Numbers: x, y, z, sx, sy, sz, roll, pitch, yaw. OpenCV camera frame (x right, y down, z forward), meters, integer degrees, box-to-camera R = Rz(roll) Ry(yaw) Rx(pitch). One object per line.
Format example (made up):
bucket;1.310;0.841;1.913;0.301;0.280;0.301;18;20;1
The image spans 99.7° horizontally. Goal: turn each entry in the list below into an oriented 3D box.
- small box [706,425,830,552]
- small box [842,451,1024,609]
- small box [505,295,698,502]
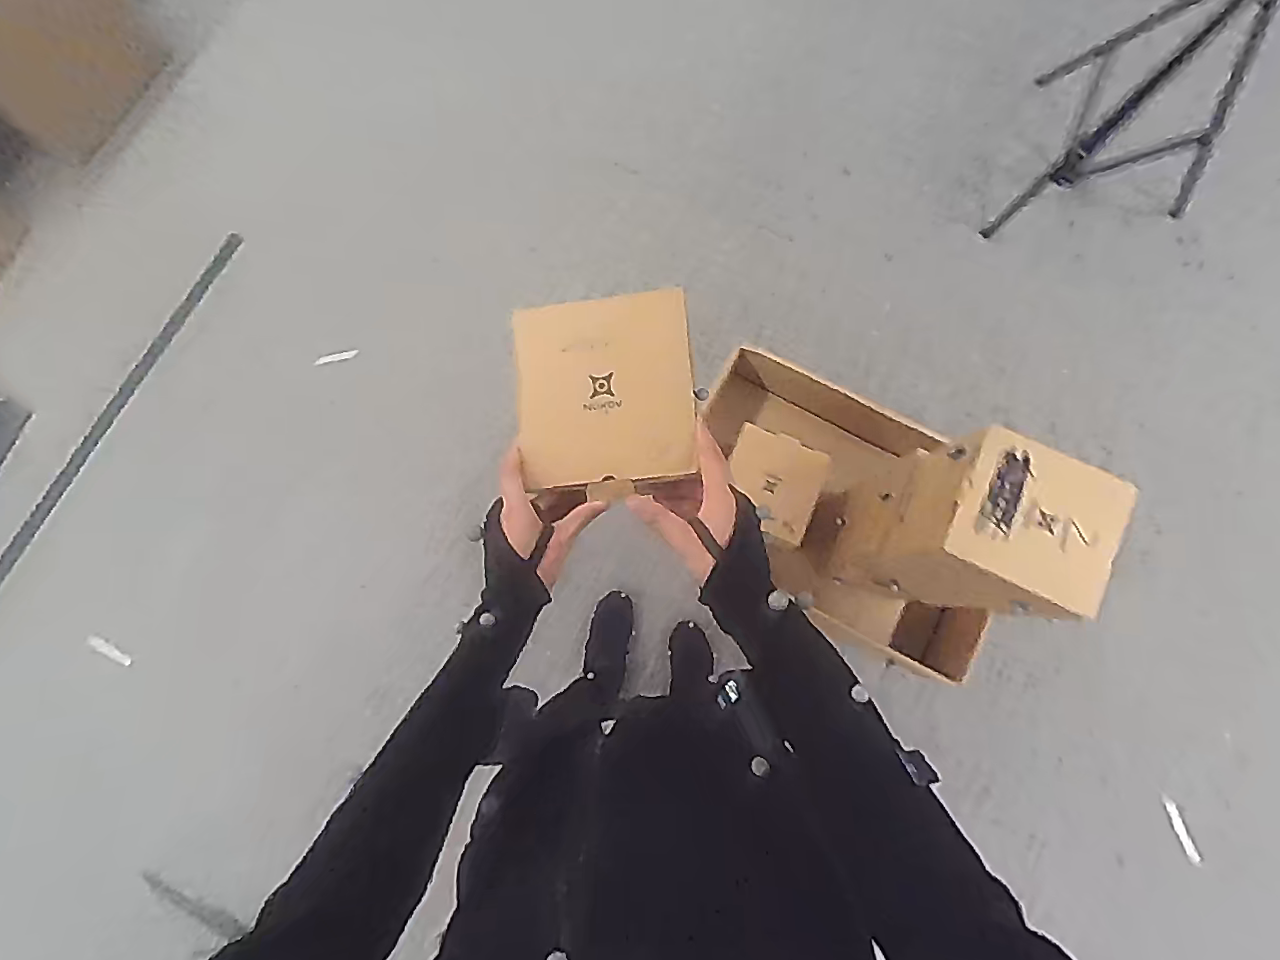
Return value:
small box;0.233;0.024;1.030;0.168;0.176;0.179;23;80;6
small box;0.443;0.083;0.847;0.168;0.176;0.179;27;81;8
small box;-0.029;-0.070;0.572;0.168;0.176;0.179;-6;85;7
